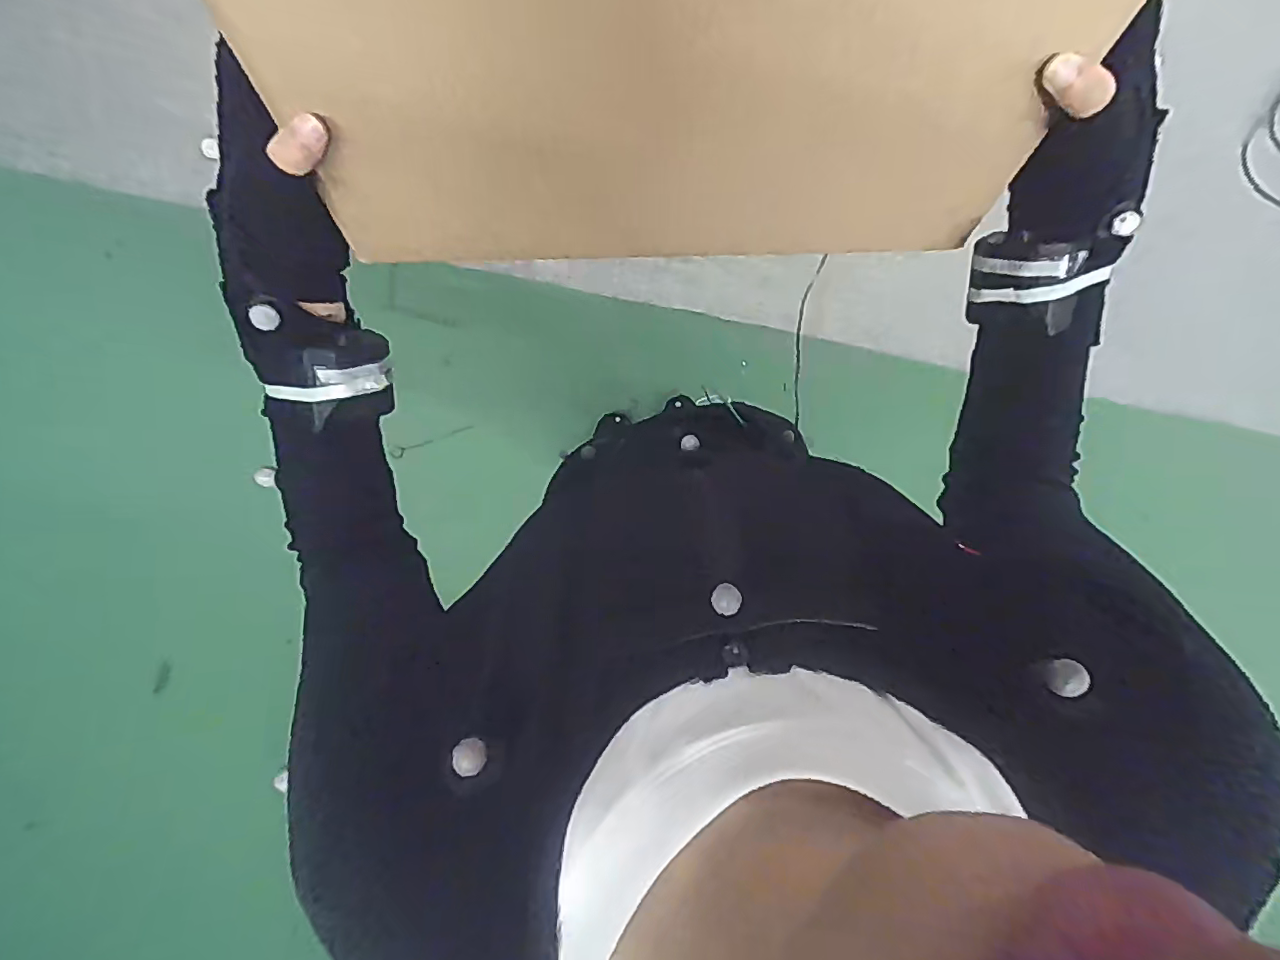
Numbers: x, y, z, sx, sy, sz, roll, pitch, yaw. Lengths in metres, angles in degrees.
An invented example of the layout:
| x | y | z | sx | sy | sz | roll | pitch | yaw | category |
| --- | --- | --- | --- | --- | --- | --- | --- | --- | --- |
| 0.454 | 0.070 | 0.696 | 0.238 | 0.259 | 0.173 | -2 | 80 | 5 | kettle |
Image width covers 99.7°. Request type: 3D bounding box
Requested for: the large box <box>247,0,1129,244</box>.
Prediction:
| x | y | z | sx | sy | sz | roll | pitch | yaw | category |
| --- | --- | --- | --- | --- | --- | --- | --- | --- | --- |
| 0.020 | -0.352 | 0.280 | 0.408 | 0.320 | 0.320 | -2 | 68 | -5 | large box |
